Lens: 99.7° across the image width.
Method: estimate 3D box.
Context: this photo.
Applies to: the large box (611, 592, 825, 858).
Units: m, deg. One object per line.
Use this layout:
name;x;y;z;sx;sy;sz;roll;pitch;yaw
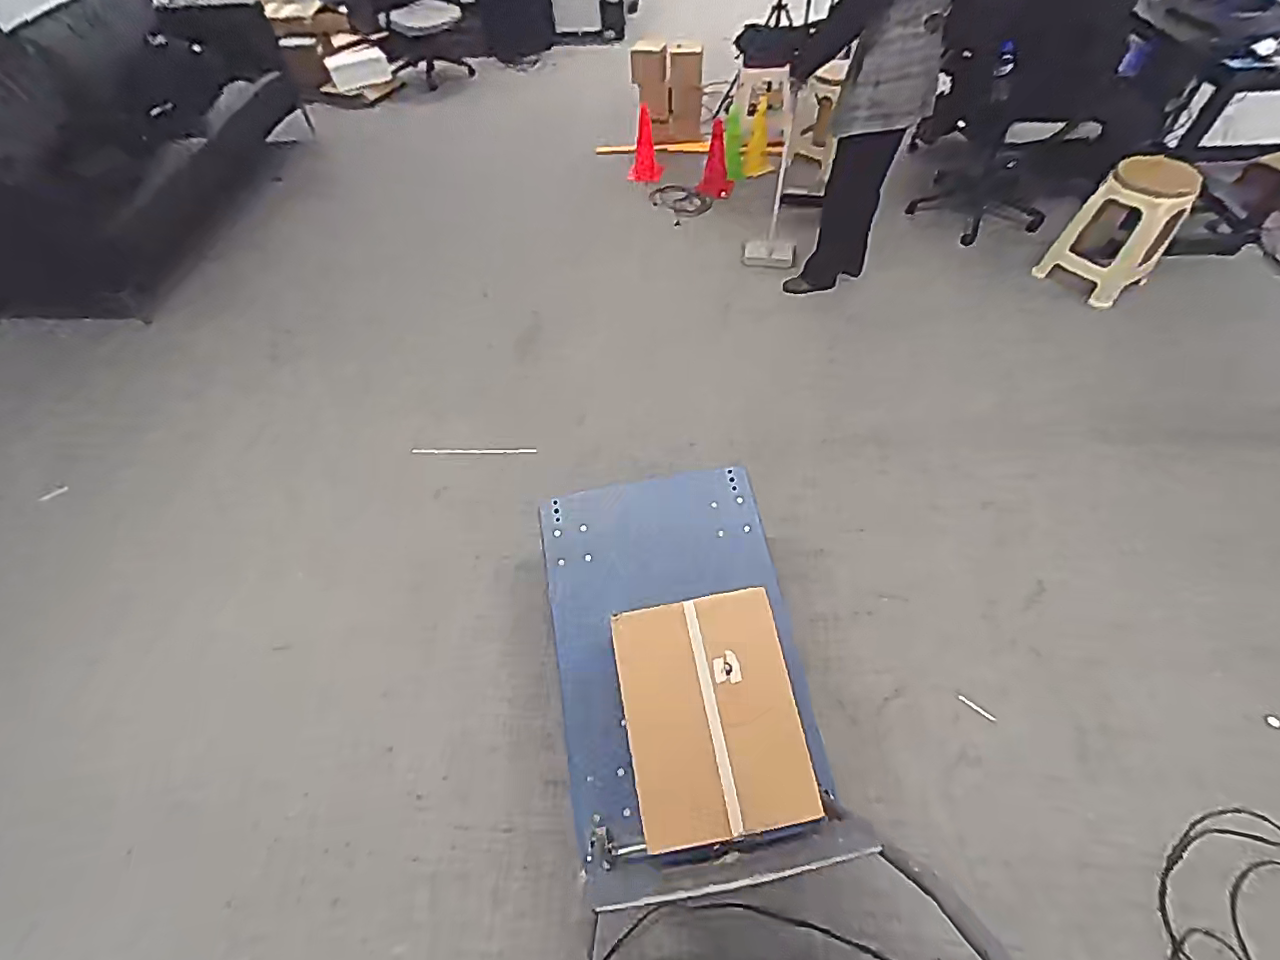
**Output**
large box;0.135;0.484;1.127;0.320;0.320;0.408;-10;69;-4
